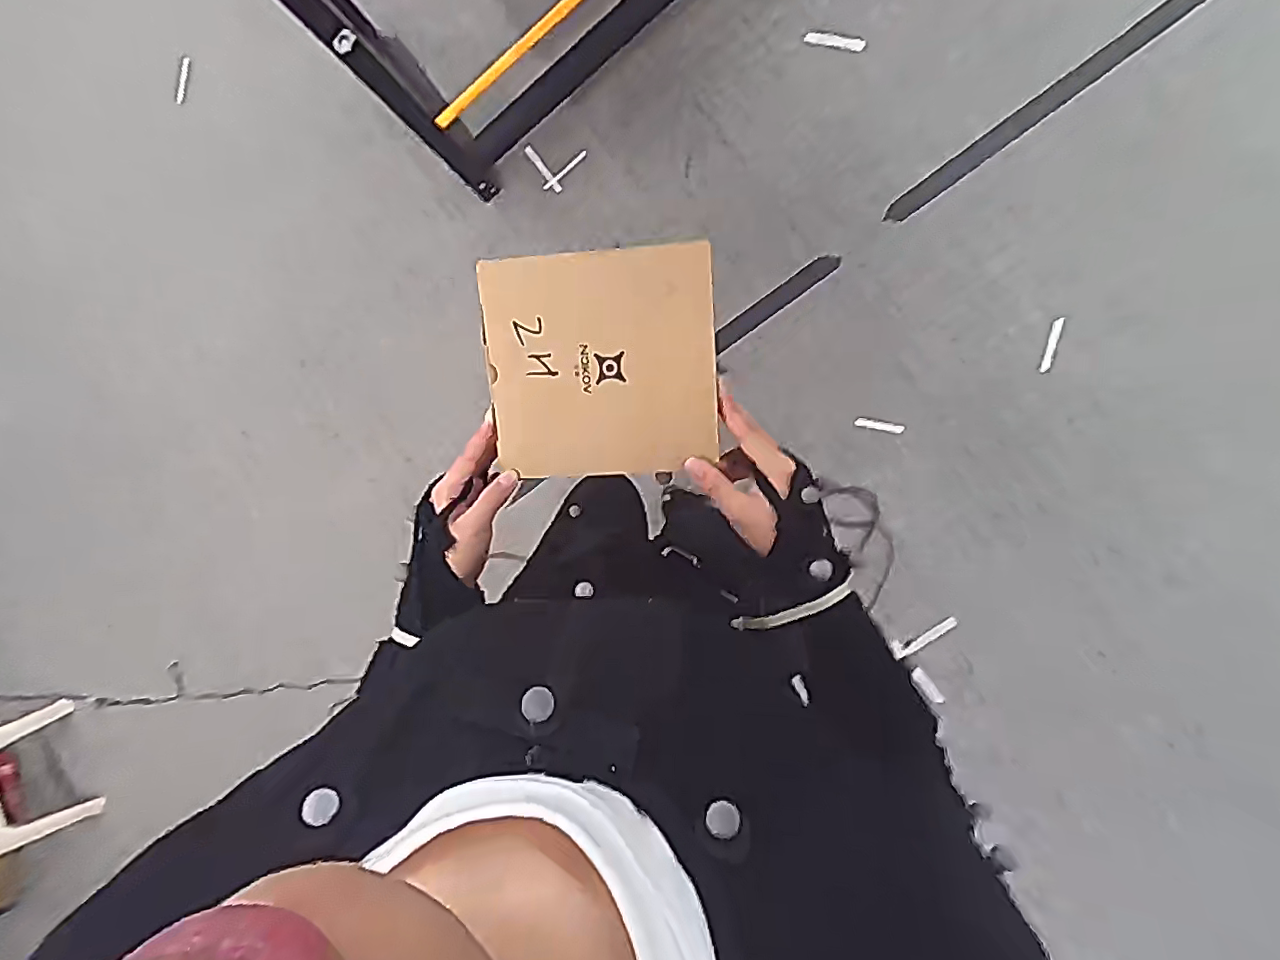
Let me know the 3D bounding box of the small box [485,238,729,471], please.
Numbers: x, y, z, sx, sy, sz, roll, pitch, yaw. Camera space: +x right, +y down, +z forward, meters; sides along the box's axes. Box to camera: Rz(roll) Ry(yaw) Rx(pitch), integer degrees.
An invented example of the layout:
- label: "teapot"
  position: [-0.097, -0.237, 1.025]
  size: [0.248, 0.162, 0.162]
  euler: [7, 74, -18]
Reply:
- label: "small box"
  position: [-0.017, -0.103, 0.474]
  size: [0.179, 0.176, 0.168]
  euler: [-1, 101, 6]
